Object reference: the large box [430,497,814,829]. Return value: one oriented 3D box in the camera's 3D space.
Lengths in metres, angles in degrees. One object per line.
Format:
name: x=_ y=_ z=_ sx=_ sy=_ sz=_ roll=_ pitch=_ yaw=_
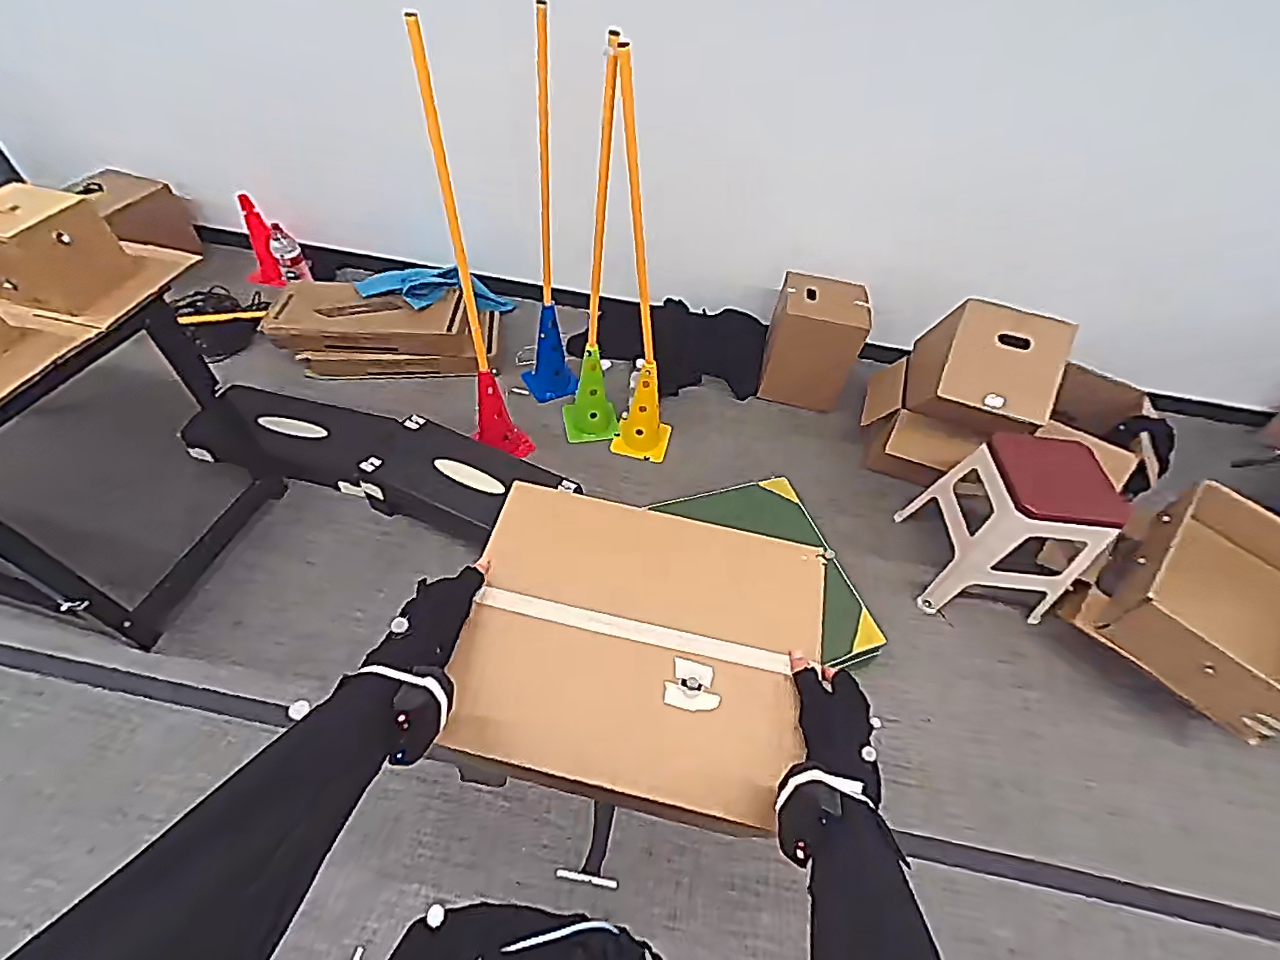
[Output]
large box: x=-0.010 y=0.264 z=0.752 sx=0.408 sy=0.320 sz=0.320 roll=12 pitch=58 yaw=3
